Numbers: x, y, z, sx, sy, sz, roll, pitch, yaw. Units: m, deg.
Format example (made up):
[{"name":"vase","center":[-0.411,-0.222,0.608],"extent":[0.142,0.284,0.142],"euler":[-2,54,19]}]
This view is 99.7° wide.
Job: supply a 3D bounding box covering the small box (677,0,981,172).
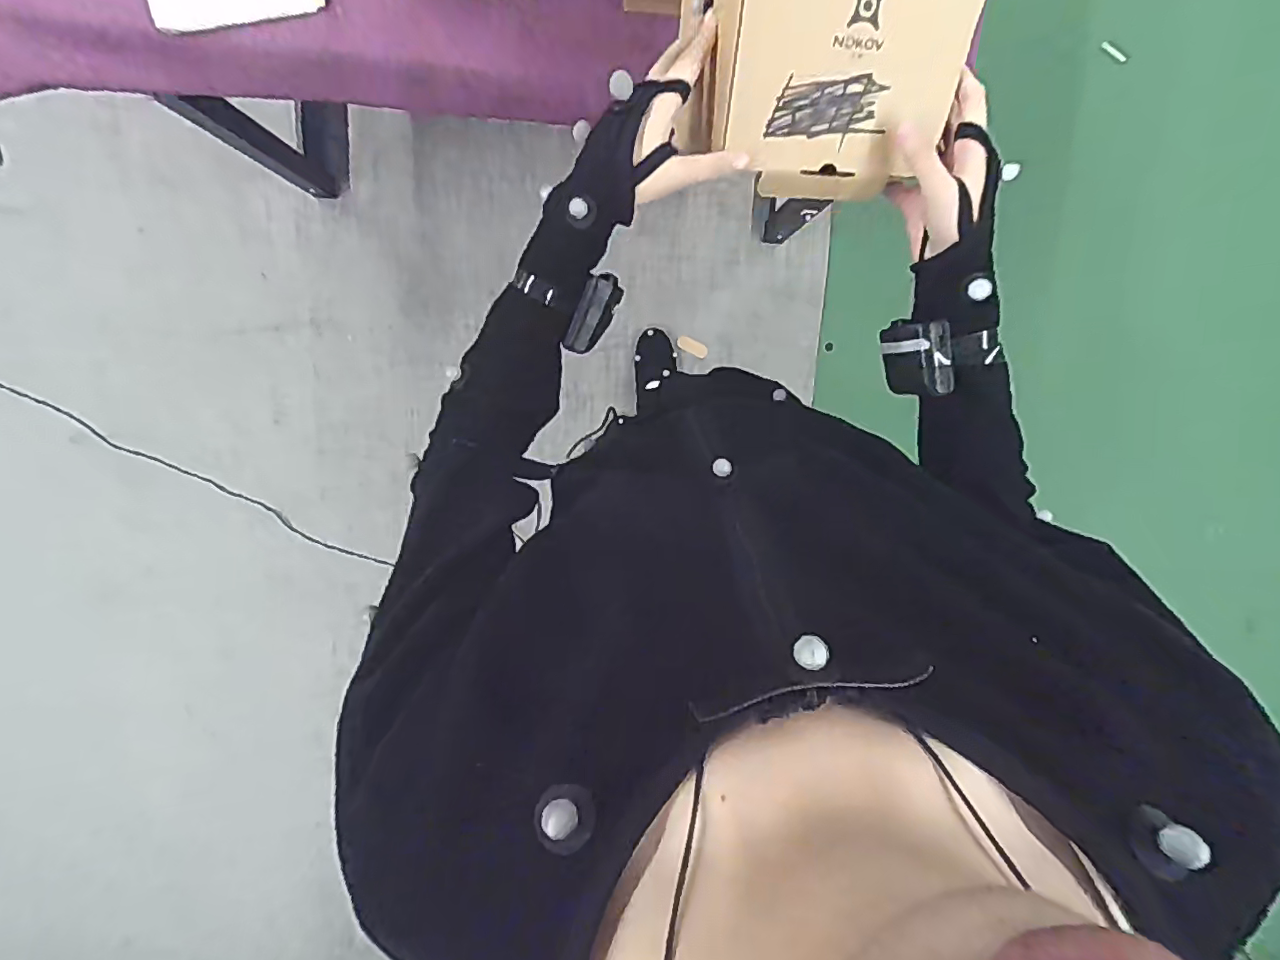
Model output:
[{"name":"small box","center":[0.128,-0.349,0.410],"extent":[0.168,0.176,0.179],"euler":[-3,127,-10]}]
